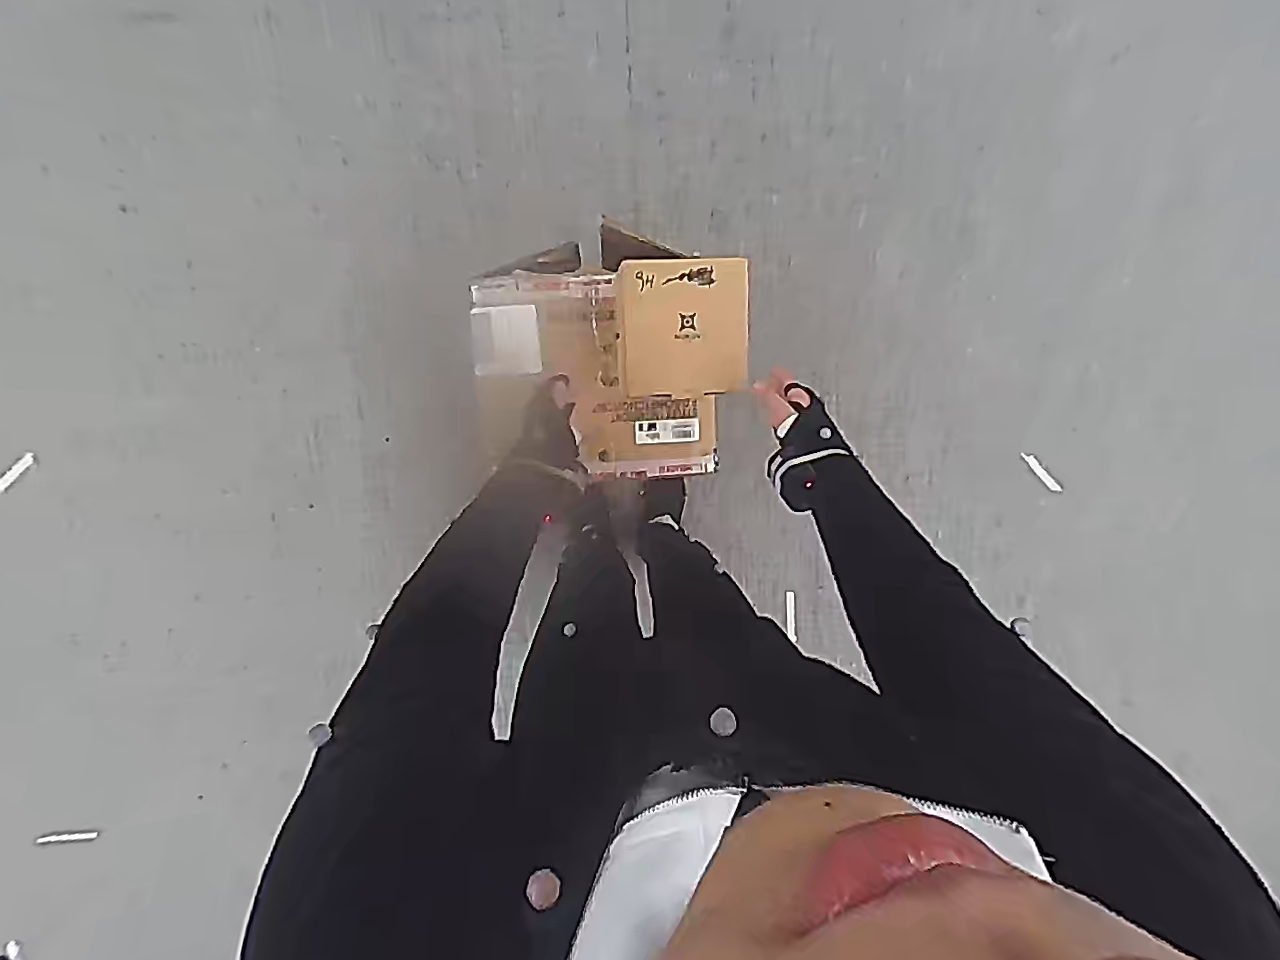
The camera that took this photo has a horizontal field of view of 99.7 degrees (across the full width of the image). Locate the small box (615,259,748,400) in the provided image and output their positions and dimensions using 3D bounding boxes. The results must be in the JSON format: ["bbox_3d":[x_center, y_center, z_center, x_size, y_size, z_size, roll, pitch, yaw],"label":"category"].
[{"bbox_3d":[0.052,-0.214,0.782,0.168,0.176,0.179,-3,103,-5],"label":"small box"}]
